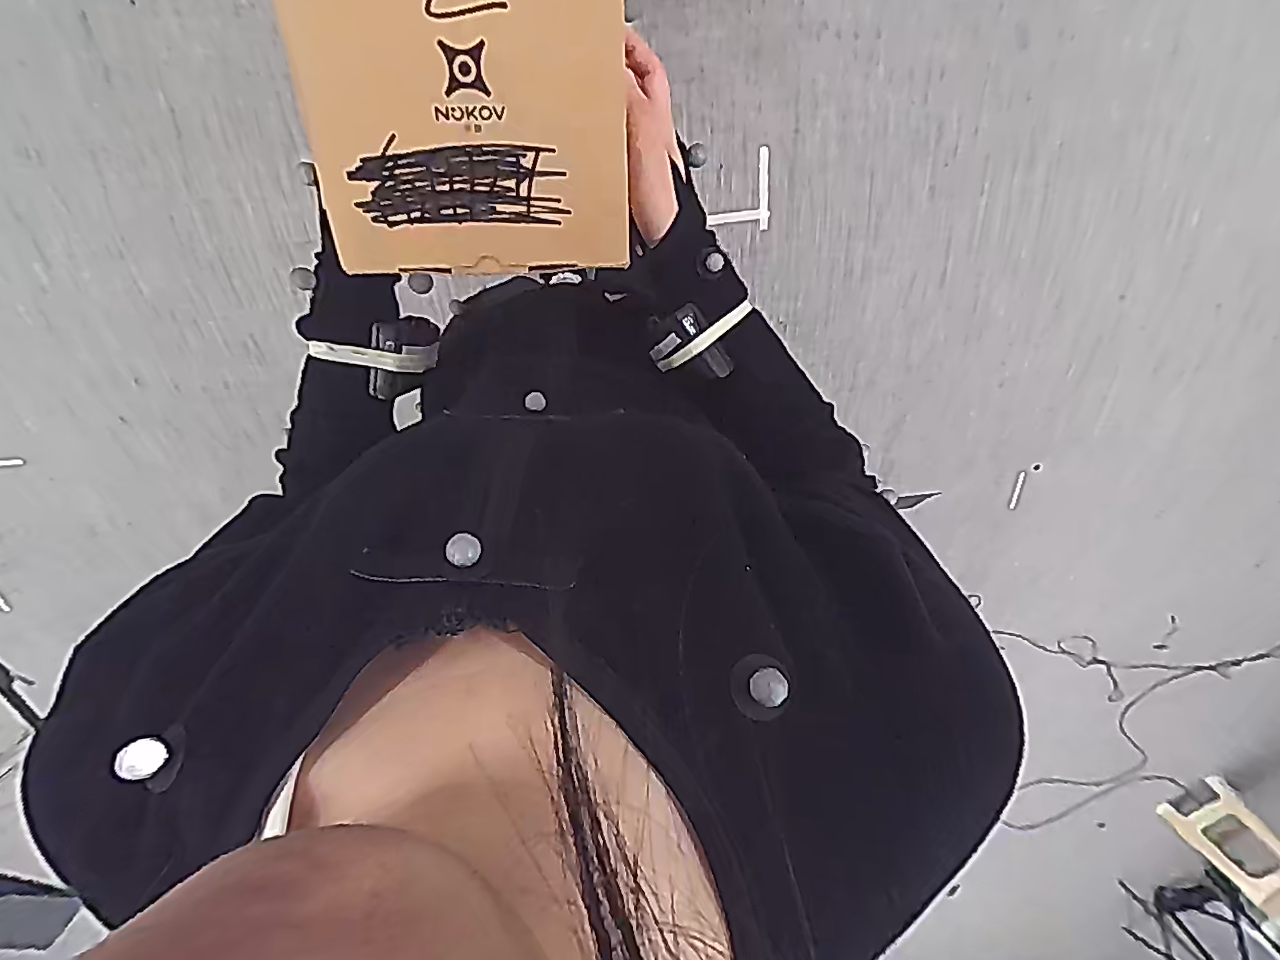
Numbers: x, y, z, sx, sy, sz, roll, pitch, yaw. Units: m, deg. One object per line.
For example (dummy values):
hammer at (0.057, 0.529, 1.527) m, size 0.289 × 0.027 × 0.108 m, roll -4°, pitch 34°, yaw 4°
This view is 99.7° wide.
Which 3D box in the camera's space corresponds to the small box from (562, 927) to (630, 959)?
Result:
small box at (-0.105, 1.254, 1.340) m, size 0.168 × 0.176 × 0.179 m, roll -4°, pitch 118°, yaw -7°
